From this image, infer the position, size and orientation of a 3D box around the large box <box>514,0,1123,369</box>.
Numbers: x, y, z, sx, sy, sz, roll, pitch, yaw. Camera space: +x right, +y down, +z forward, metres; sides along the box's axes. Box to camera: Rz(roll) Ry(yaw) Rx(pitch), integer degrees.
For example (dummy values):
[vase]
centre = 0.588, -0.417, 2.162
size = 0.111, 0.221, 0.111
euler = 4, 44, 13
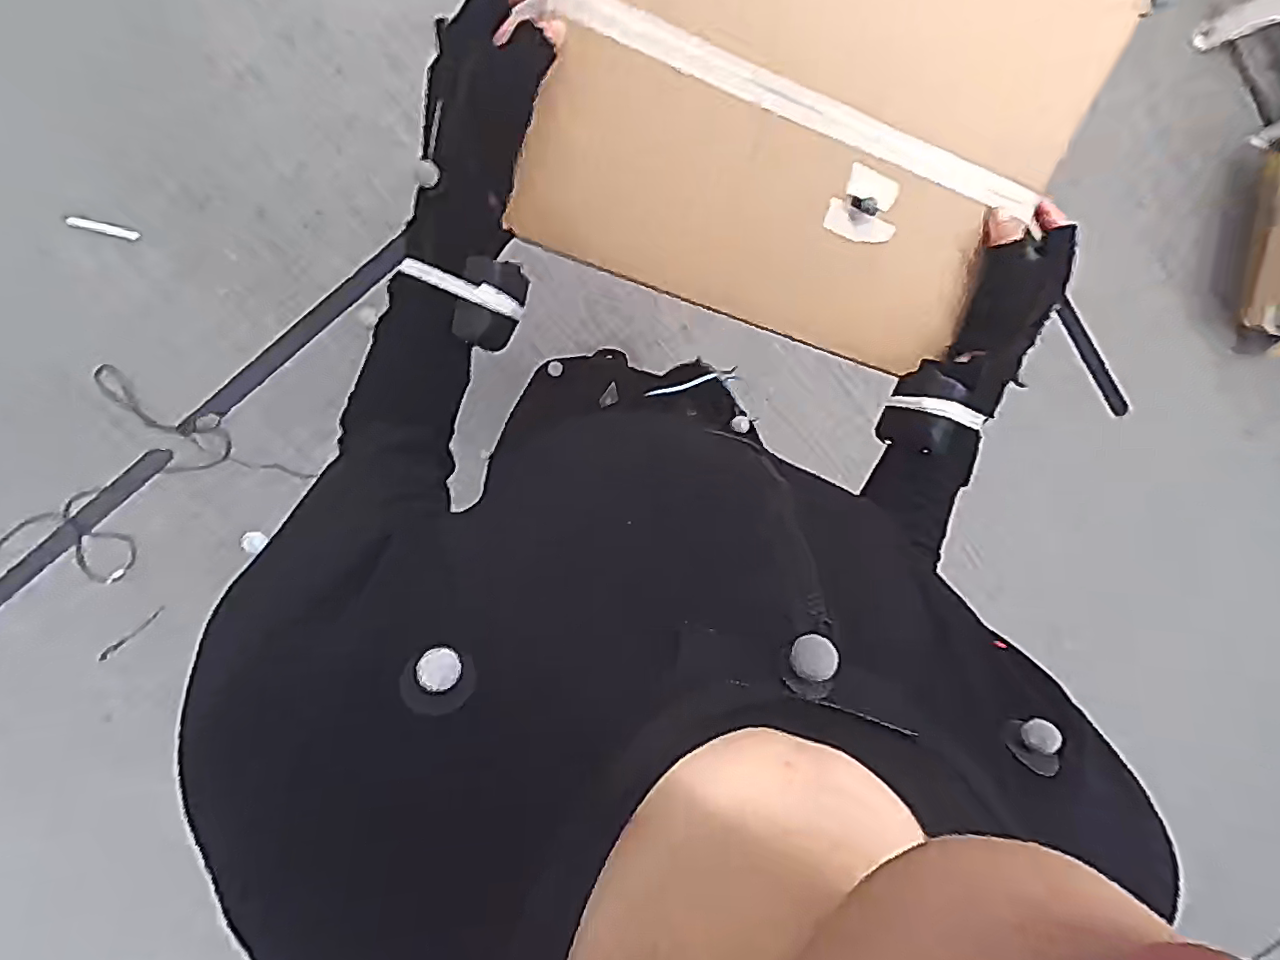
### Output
[large box]
centre = 0.117, -0.350, 0.554
size = 0.408, 0.320, 0.320
euler = 16, 114, -13
